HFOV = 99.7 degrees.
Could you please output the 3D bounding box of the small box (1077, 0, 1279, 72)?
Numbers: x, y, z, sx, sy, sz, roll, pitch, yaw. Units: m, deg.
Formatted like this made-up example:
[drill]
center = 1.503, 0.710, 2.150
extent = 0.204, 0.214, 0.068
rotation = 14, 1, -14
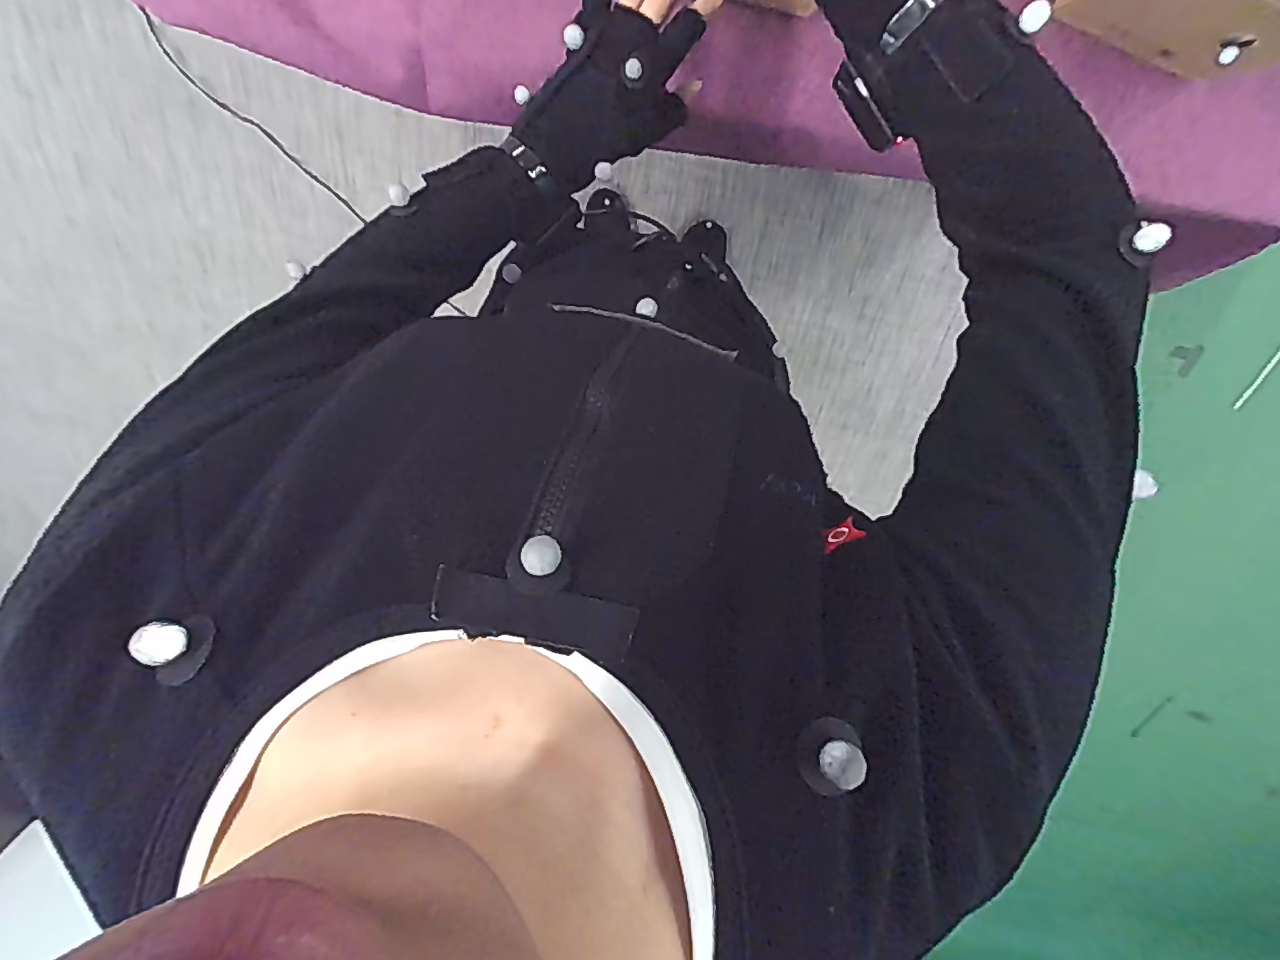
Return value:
[small box]
center = 0.479, -0.441, 0.399
extent = 0.168, 0.176, 0.179
rotation = 18, 117, -6
